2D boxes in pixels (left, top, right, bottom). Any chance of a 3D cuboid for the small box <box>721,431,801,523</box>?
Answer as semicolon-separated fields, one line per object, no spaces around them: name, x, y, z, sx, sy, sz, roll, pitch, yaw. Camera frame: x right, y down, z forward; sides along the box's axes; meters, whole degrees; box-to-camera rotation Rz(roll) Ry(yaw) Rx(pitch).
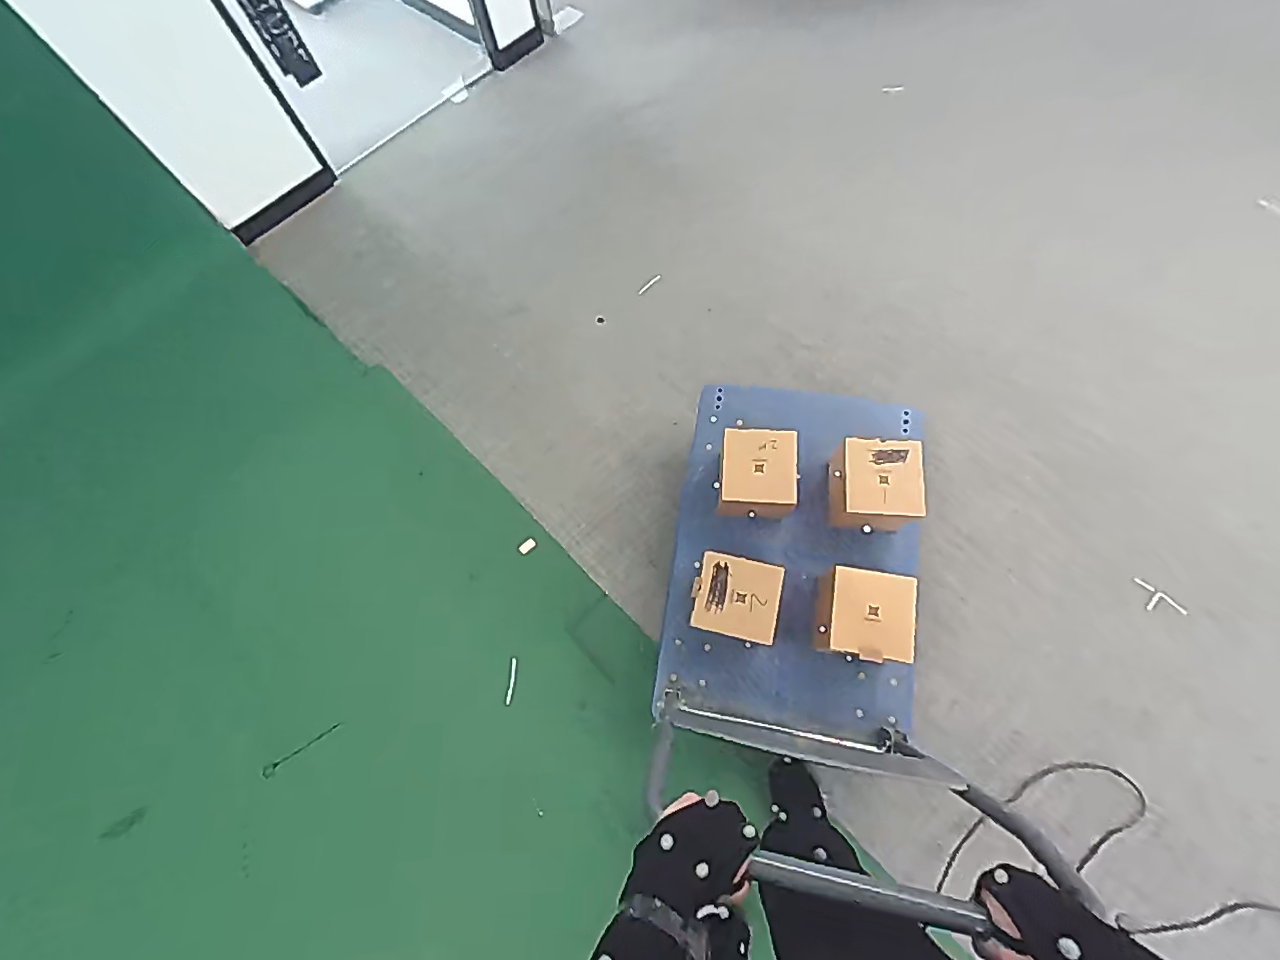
small box;0.284;-0.001;1.291;0.168;0.176;0.179;4;74;6

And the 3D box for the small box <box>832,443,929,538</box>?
small box;0.550;0.028;1.257;0.168;0.176;0.179;4;74;7

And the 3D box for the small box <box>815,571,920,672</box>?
small box;0.488;0.308;1.179;0.168;0.176;0.179;9;75;8
